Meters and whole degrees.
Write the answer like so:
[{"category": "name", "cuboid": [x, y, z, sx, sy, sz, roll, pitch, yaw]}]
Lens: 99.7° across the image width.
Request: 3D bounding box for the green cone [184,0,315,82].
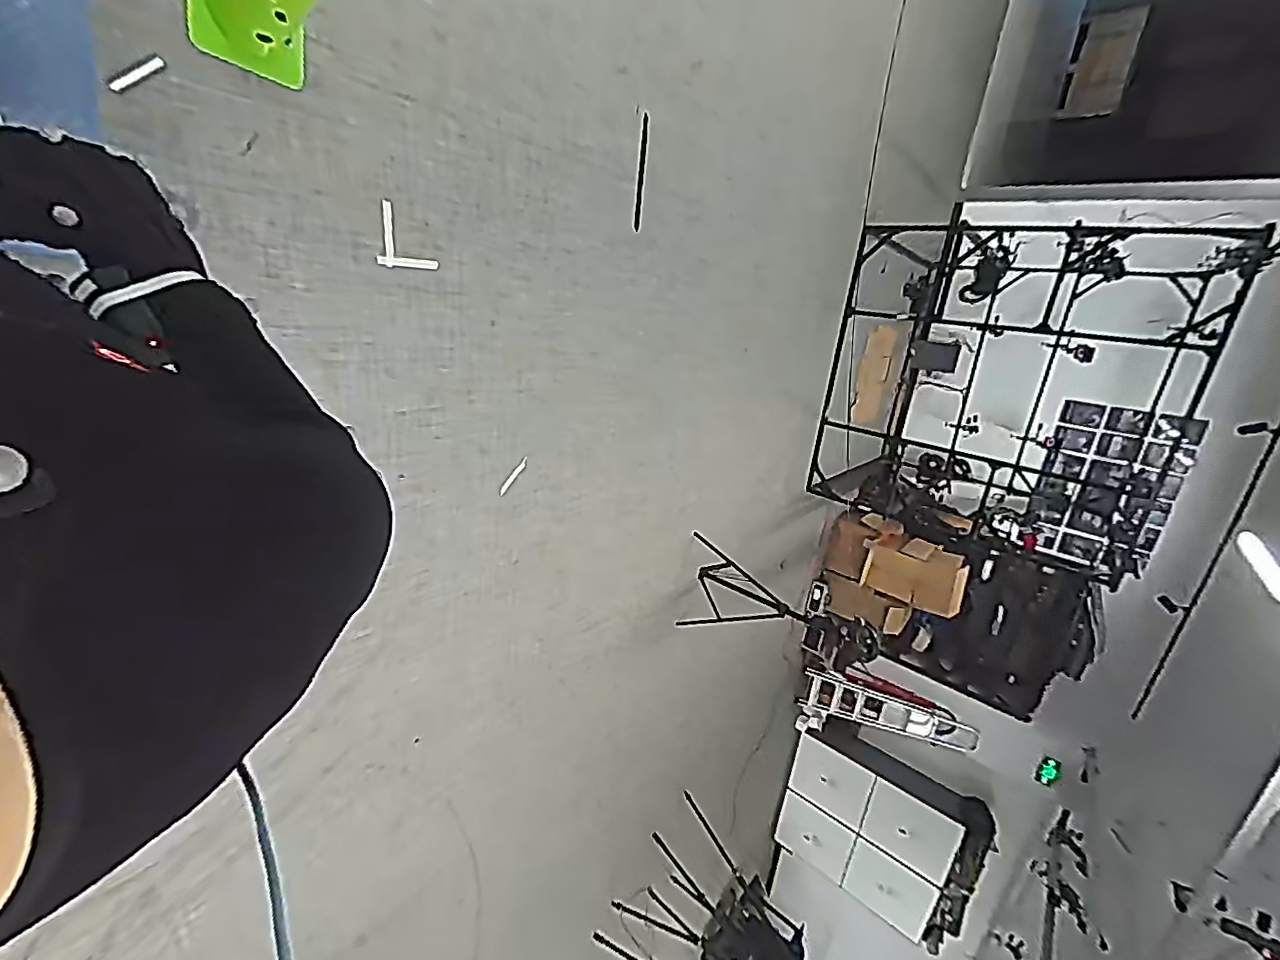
[{"category": "green cone", "cuboid": [-0.659, -0.900, 0.988, 0.202, 0.368, 0.200, -11, 115, -52]}]
